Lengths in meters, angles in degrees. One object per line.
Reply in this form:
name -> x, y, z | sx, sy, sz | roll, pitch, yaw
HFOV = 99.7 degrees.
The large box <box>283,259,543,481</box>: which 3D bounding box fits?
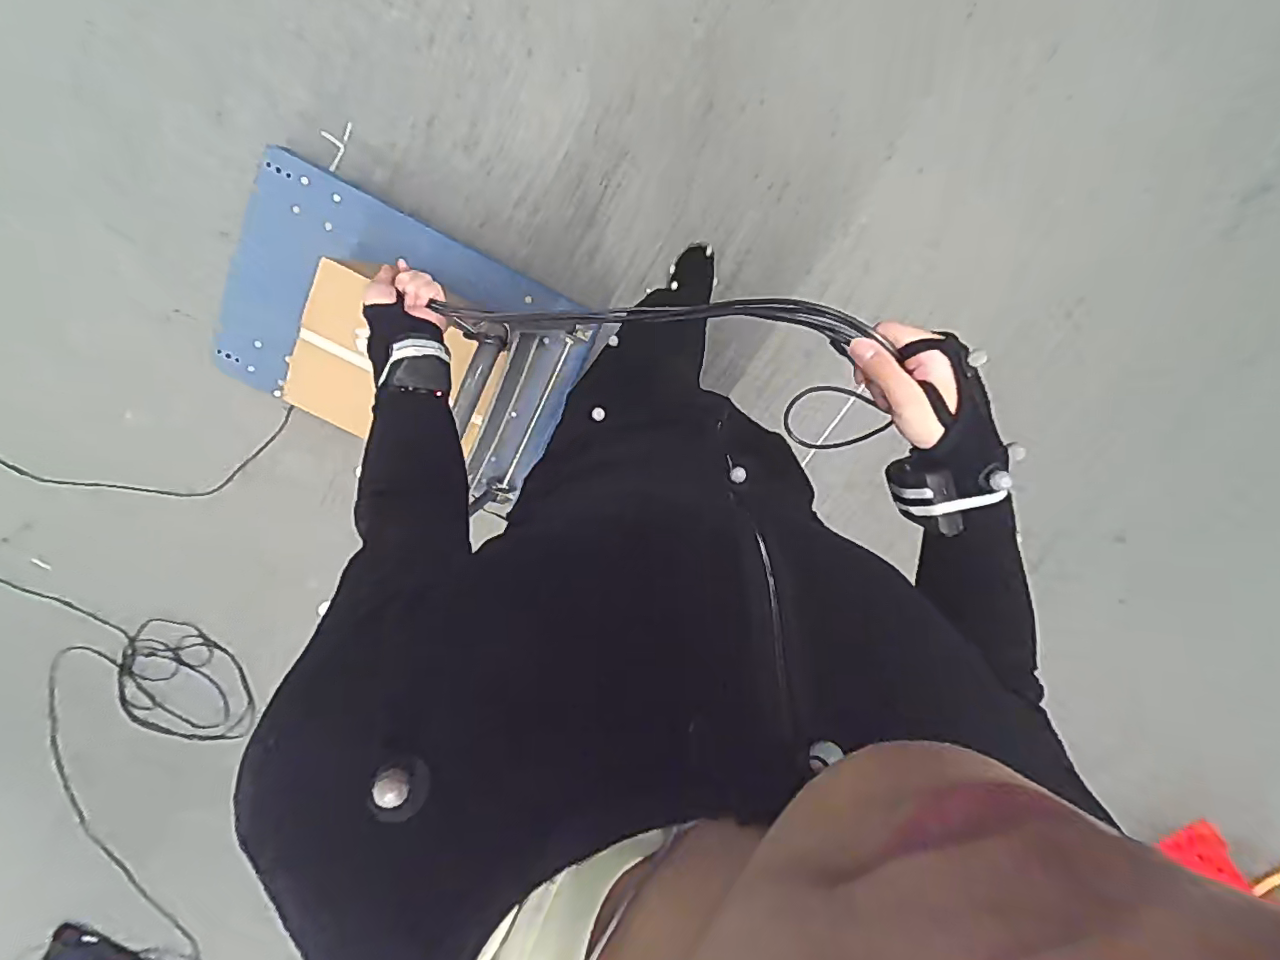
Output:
large box -> -0.487, -0.254, 1.231 | 0.408, 0.320, 0.320 | 27, 106, -5
